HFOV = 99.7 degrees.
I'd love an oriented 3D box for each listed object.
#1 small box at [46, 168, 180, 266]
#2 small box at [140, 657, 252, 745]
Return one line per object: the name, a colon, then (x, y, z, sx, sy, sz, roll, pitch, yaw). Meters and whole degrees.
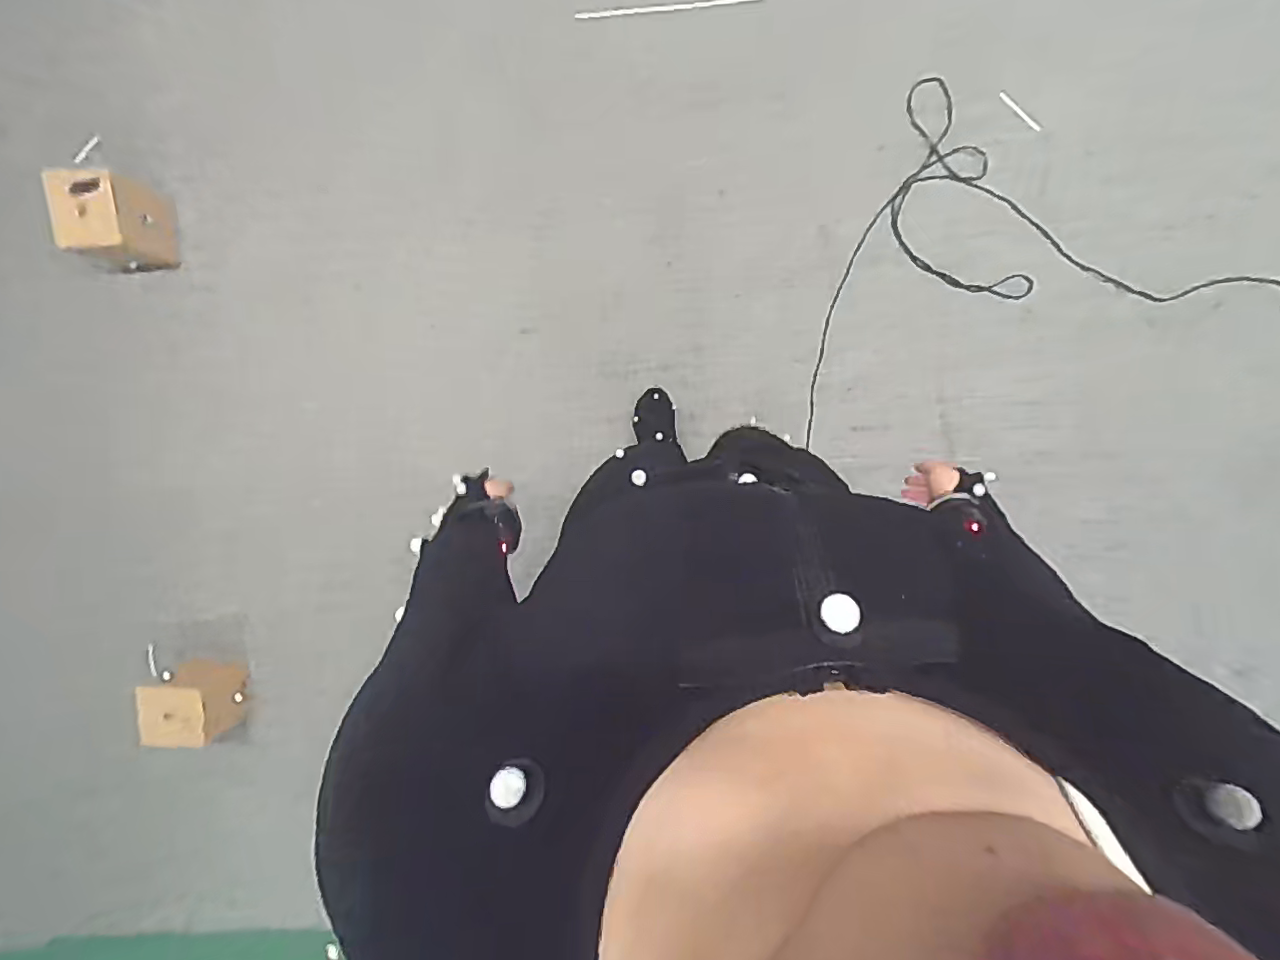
small box: (-1.316, -0.655, 1.362, 0.168, 0.176, 0.179, -3, 97, 2)
small box: (-1.220, 0.605, 1.496, 0.179, 0.176, 0.168, 2, 97, 1)
